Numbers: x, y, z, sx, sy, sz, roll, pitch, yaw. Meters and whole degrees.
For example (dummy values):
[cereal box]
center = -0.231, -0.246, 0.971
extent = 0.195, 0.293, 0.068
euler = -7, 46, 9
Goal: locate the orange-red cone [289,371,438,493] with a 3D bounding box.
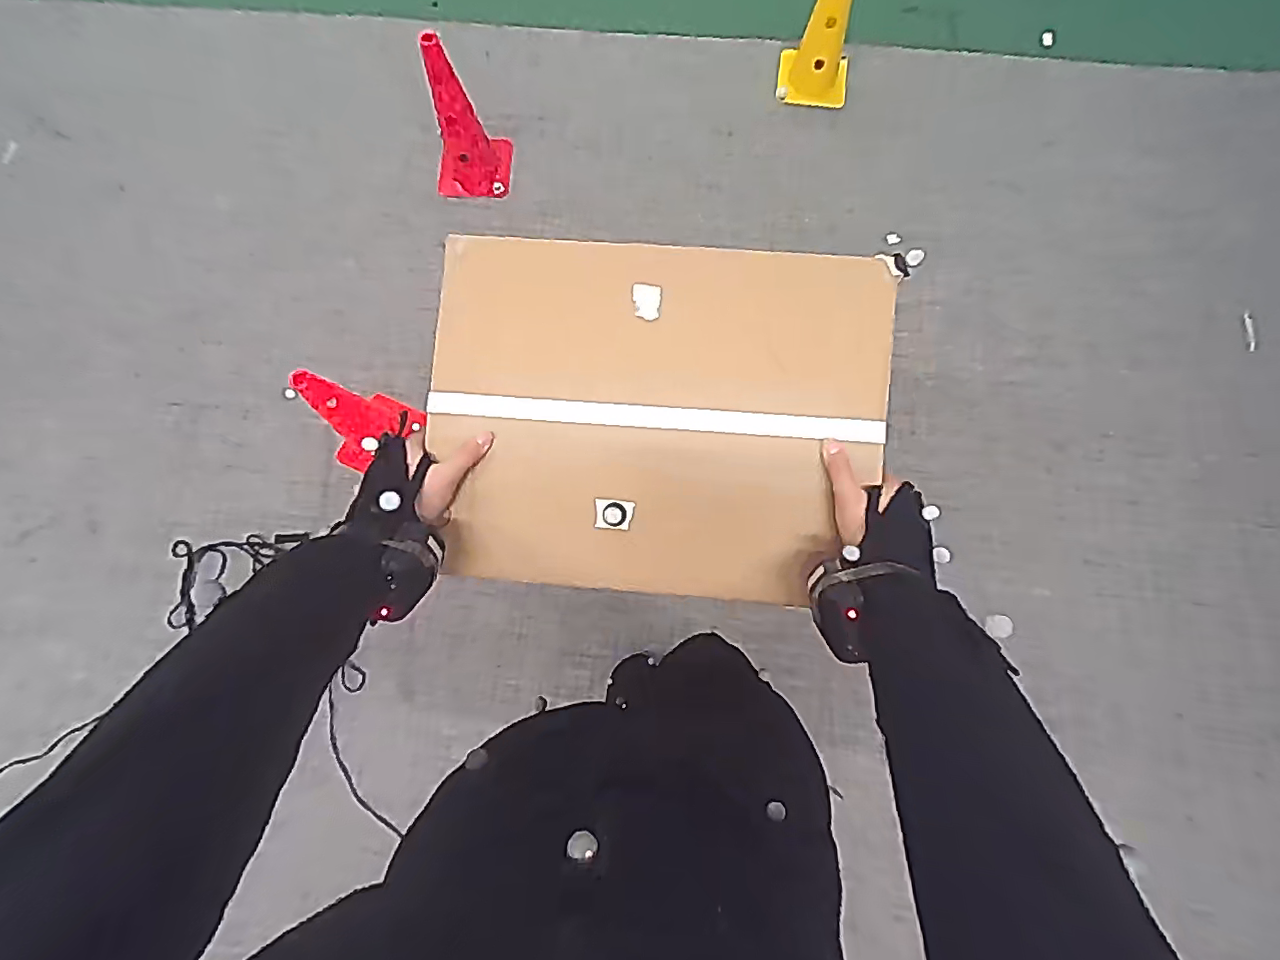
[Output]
[orange-red cone]
center = -0.630, -0.134, 1.173
extent = 0.199, 0.360, 0.198
euler = 24, 75, 10

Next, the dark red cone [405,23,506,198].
[dark red cone]
center = -0.487, -0.933, 1.375
extent = 0.202, 0.394, 0.201
euler = -2, 71, 2
